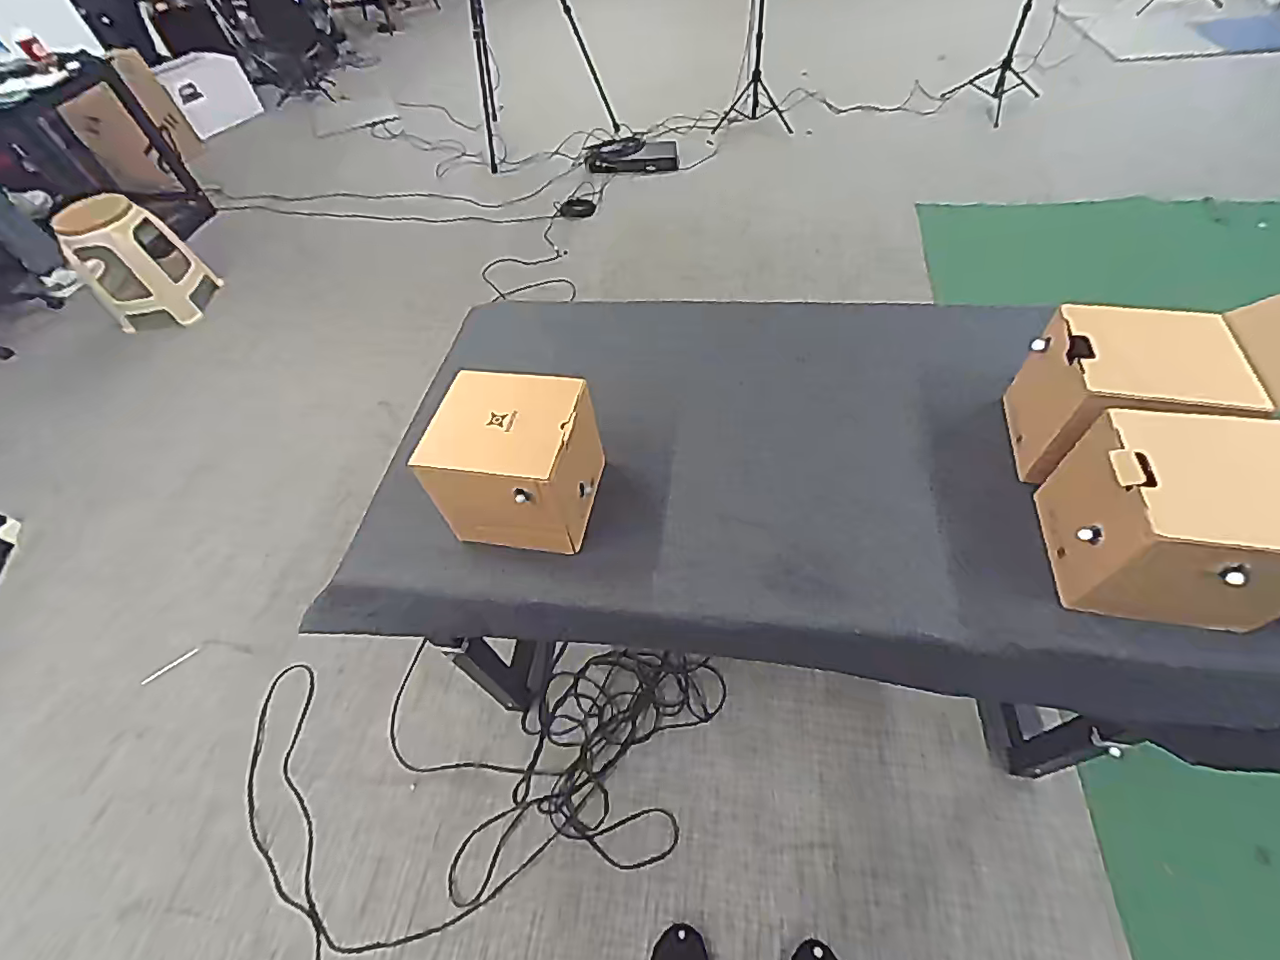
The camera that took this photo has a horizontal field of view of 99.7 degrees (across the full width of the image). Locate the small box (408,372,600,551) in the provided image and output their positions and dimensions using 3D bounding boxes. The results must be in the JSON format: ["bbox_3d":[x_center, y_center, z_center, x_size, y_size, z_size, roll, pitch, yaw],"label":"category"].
[{"bbox_3d":[-0.162,-0.022,0.715,0.179,0.176,0.168,6,53,10],"label":"small box"}]
